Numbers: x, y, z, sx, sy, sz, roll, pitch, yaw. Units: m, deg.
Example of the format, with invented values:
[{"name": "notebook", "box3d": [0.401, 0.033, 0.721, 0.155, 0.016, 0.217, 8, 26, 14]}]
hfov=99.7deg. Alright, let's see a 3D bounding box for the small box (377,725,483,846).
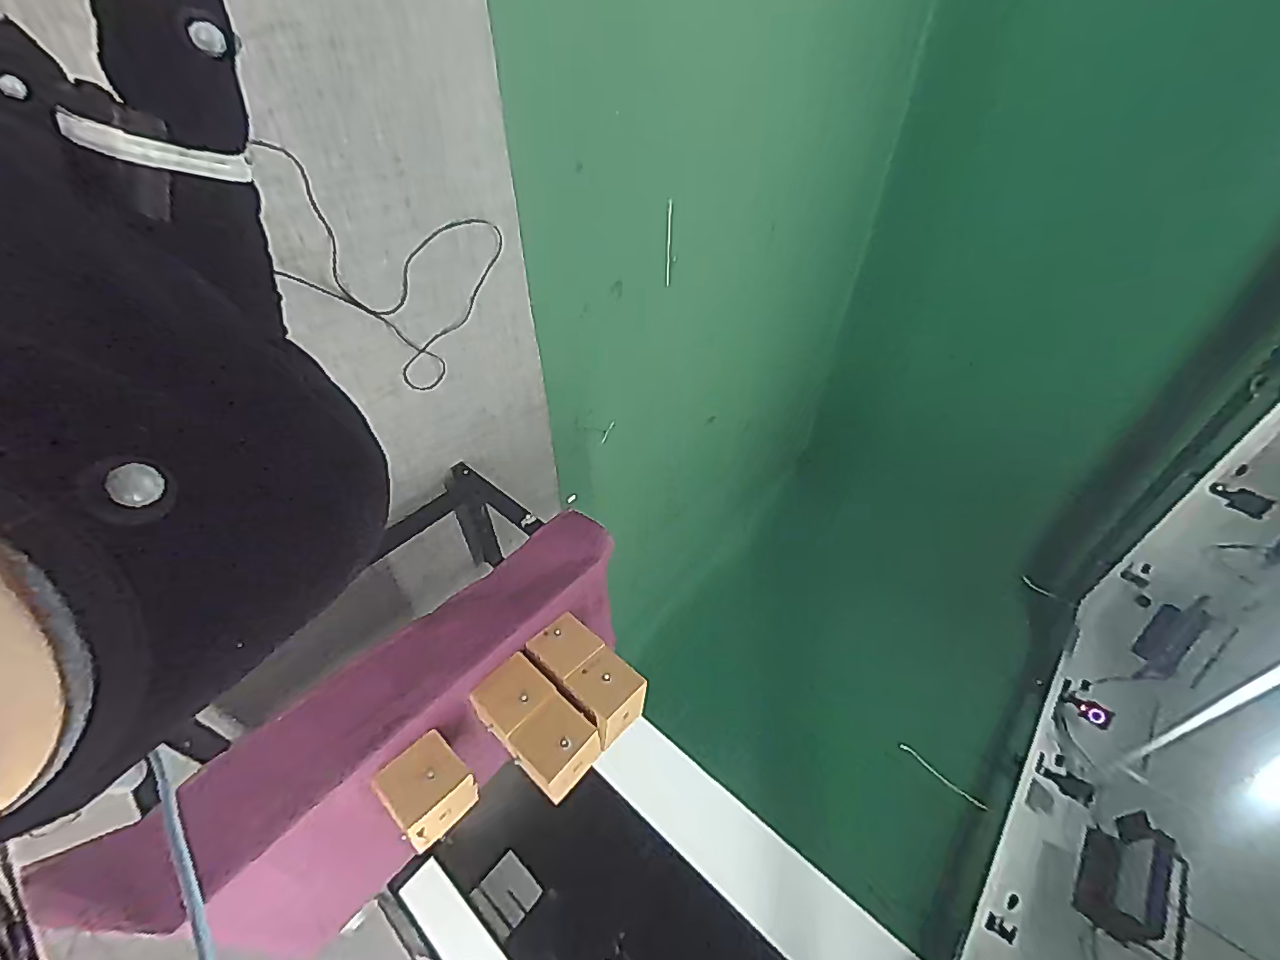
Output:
[{"name": "small box", "box3d": [-0.529, 0.767, 1.372, 0.179, 0.176, 0.168, -35, 143, -39]}]
